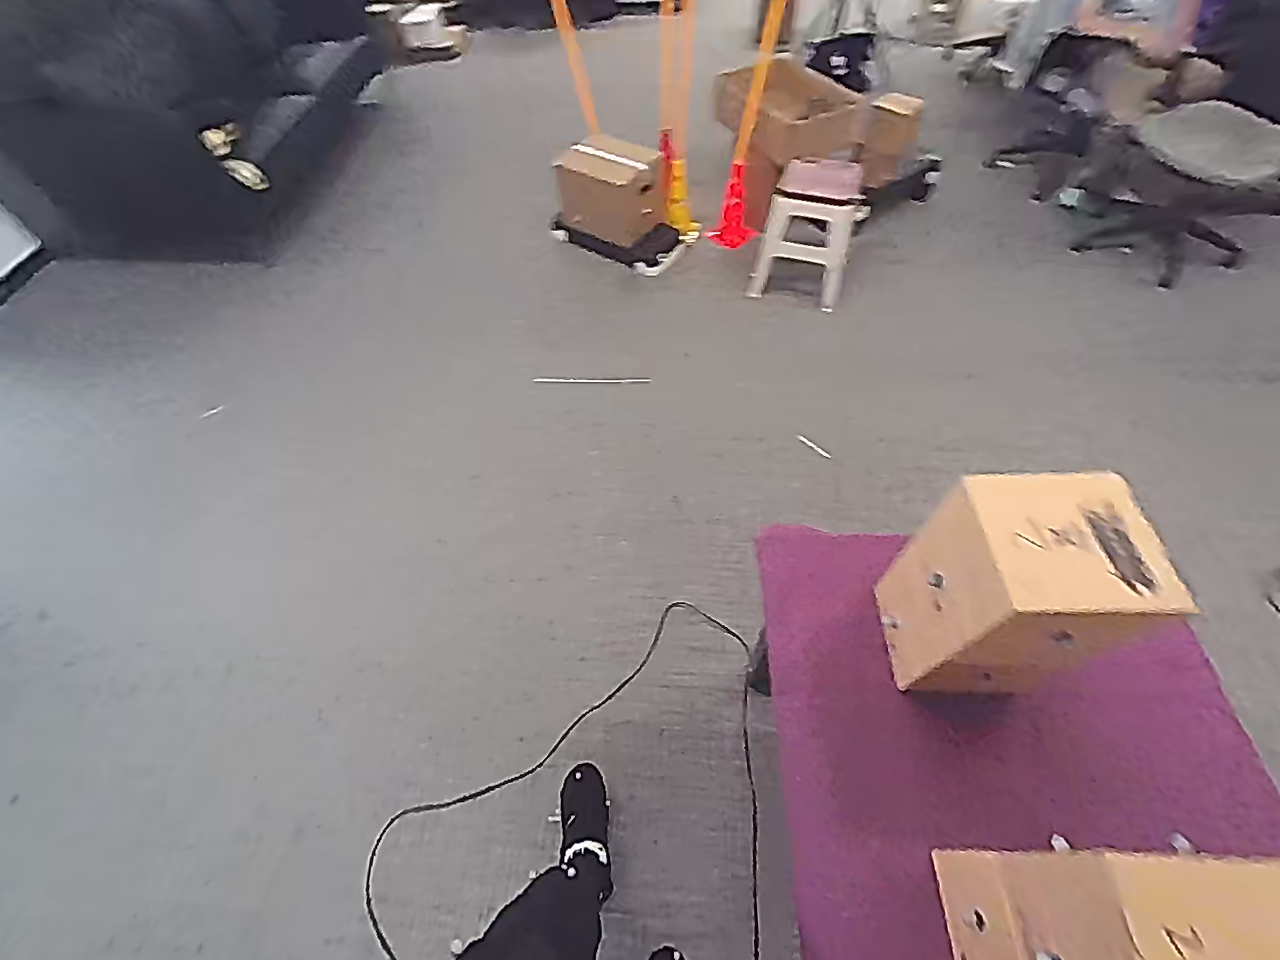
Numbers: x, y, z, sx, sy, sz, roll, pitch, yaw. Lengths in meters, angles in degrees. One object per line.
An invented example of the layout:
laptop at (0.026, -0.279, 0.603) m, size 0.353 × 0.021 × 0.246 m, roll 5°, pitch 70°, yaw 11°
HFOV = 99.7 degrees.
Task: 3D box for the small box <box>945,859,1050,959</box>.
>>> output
small box at (0.451, 0.507, 0.569) m, size 0.179 × 0.176 × 0.168 m, roll 1°, pitch 54°, yaw 3°

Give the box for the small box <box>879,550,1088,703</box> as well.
small box at (0.471, 0.213, 0.776) m, size 0.179 × 0.176 × 0.168 m, roll 0°, pitch 54°, yaw 3°

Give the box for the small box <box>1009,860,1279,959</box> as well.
small box at (0.450, 0.412, 0.435) m, size 0.179 × 0.176 × 0.168 m, roll 2°, pitch 54°, yaw 4°
